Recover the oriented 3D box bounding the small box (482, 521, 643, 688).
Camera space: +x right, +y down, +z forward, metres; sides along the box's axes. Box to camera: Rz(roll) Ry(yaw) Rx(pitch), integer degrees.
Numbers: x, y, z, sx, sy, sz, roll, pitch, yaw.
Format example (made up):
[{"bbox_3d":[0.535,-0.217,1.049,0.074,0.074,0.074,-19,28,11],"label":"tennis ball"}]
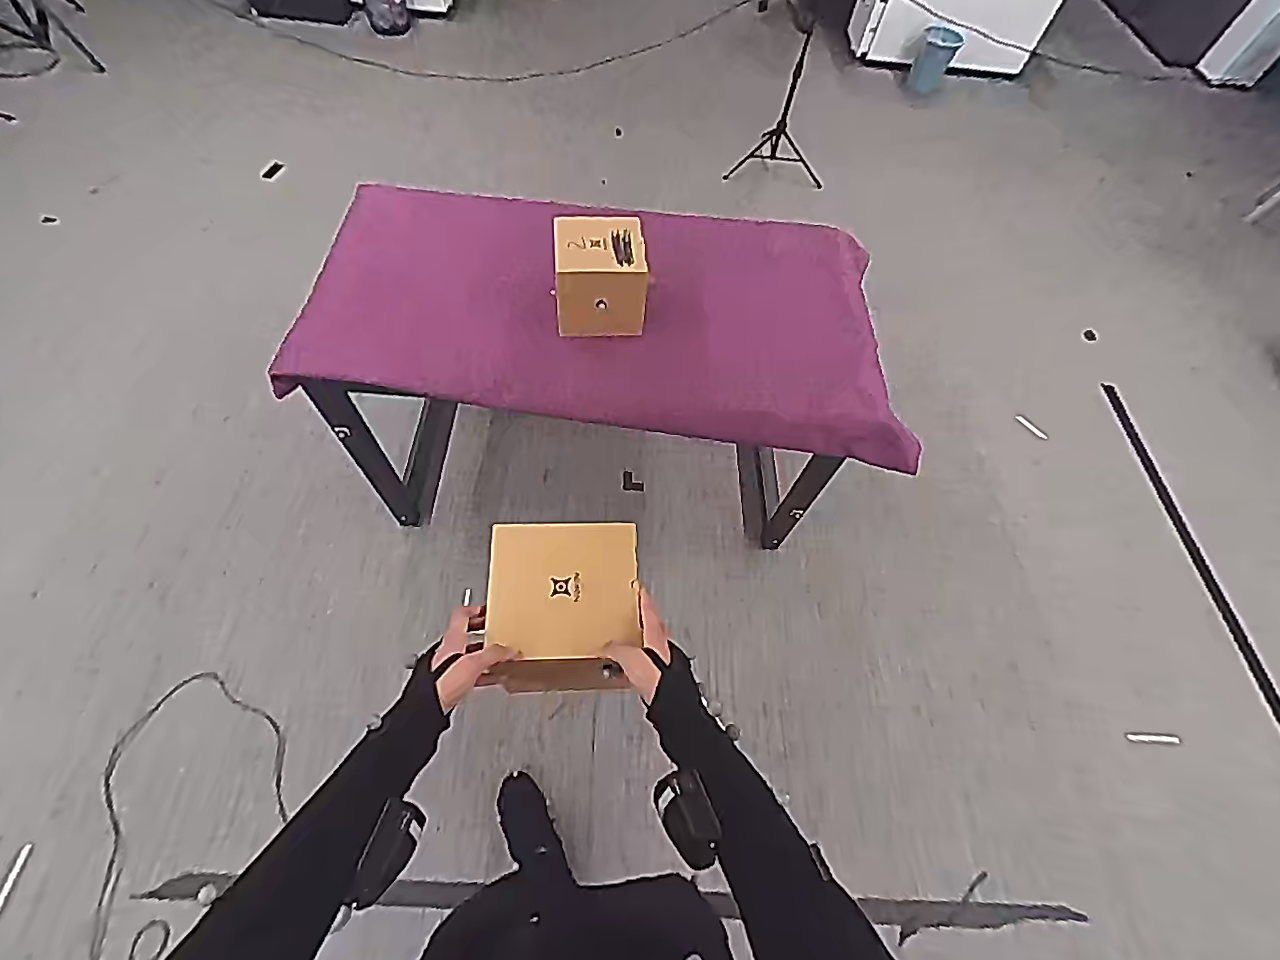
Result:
[{"bbox_3d":[-0.094,0.164,0.691,0.179,0.176,0.168,1,58,-7],"label":"small box"}]
